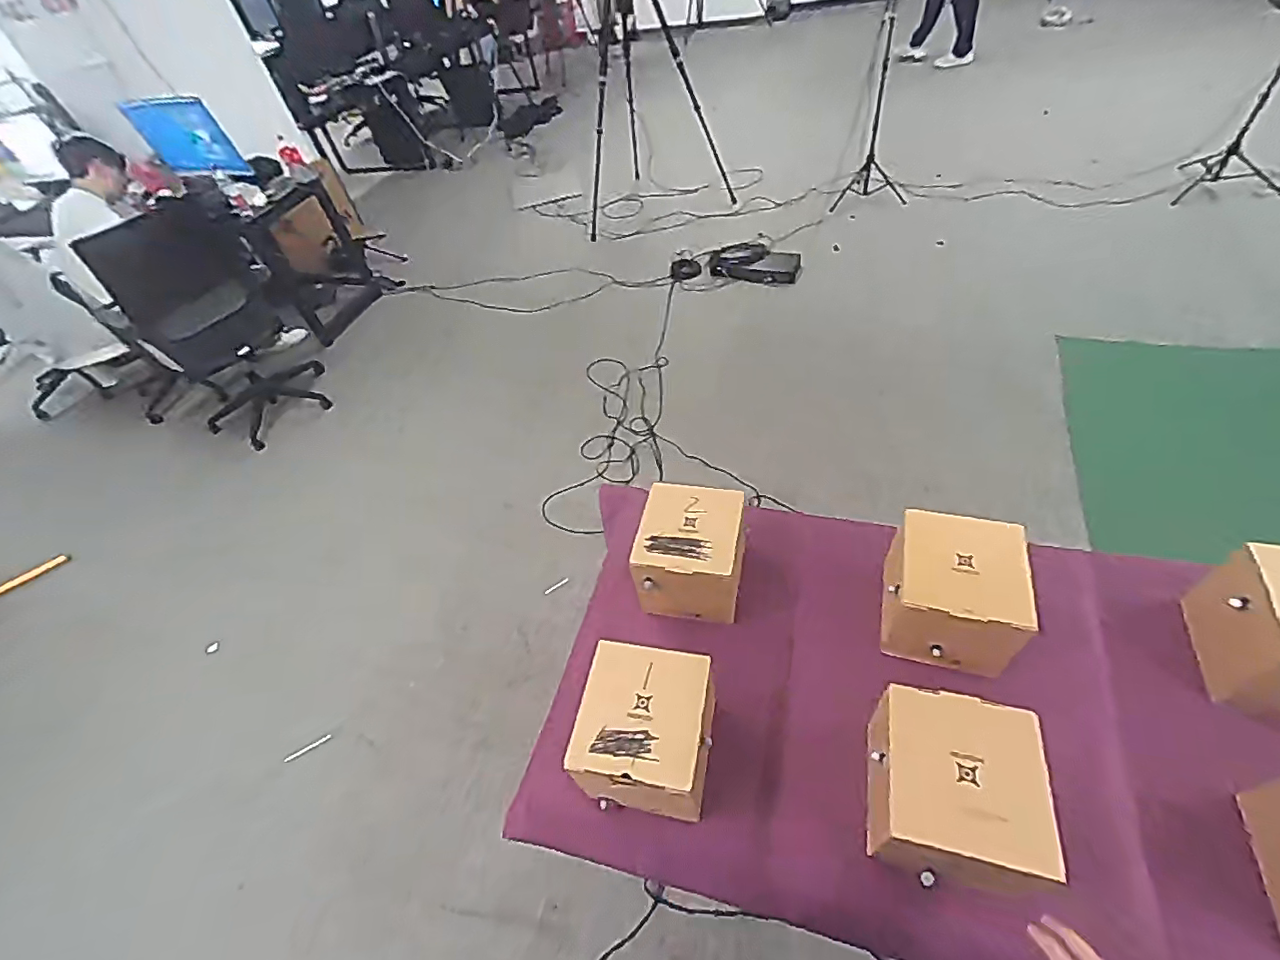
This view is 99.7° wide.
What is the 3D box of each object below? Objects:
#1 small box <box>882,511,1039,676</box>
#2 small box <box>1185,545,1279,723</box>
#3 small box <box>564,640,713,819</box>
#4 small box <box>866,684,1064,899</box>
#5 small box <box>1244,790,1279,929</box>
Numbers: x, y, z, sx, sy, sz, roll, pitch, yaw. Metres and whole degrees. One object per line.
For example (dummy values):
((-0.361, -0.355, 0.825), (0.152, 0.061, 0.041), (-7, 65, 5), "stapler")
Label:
((0.484, 0.177, 0.844), (0.168, 0.176, 0.179), (9, 53, 17), "small box")
((0.895, 0.217, 0.726), (0.168, 0.176, 0.179), (8, 52, 20), "small box")
((0.011, 0.356, 0.769), (0.168, 0.176, 0.179), (5, 49, 14), "small box")
((0.384, 0.388, 0.675), (0.168, 0.176, 0.179), (7, 50, 17), "small box")
((0.802, 0.429, 0.559), (0.168, 0.176, 0.179), (9, 49, 19), "small box")
